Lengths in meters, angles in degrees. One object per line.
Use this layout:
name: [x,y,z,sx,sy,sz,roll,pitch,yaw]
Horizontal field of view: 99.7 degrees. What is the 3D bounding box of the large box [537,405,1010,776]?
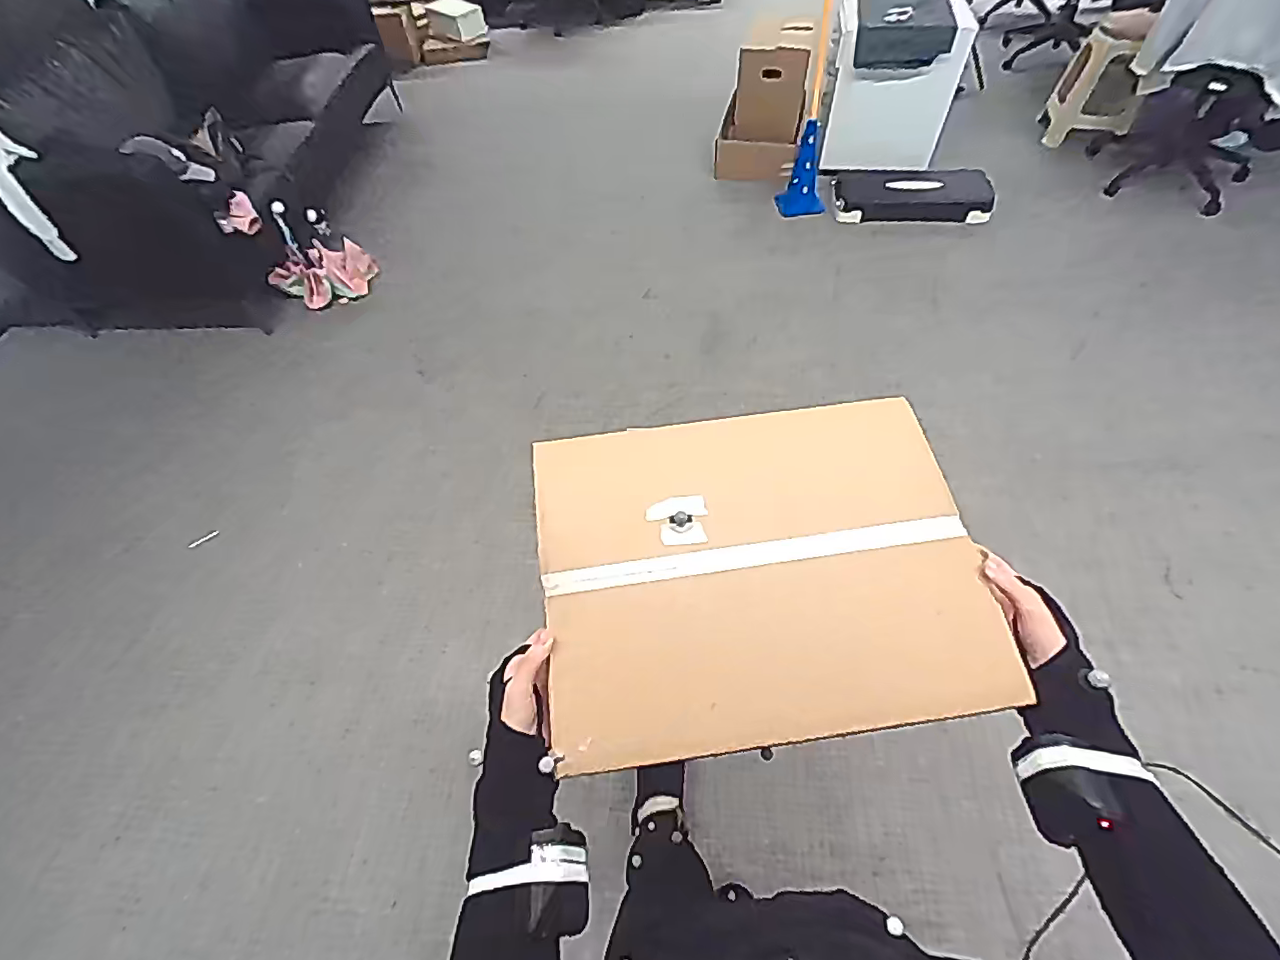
large box: [0.113,0.144,0.658,0.408,0.320,0.320,-8,64,-2]
